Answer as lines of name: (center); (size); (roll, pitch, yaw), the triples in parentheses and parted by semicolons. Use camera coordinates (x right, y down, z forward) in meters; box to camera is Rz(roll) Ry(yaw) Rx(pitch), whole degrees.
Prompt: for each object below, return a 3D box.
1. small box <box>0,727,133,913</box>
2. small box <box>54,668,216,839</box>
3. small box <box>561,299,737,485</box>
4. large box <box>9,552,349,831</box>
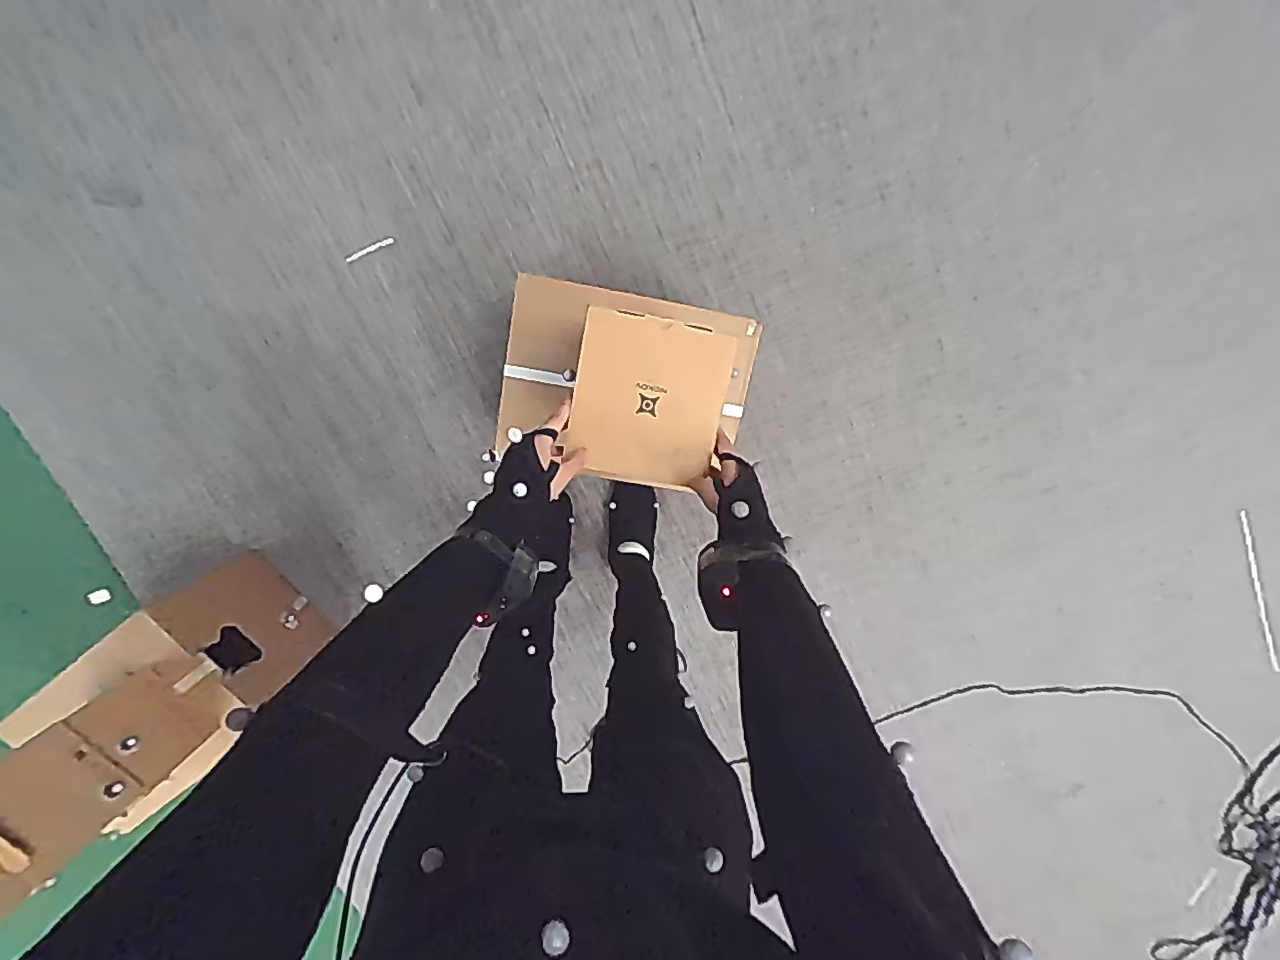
small box: (-0.885, 0.492, 0.760); (0.179, 0.176, 0.168); (-38, 101, 6)
small box: (-0.892, 0.462, 0.921); (0.168, 0.176, 0.179); (-37, 101, 5)
small box: (0.006, -0.107, 0.664); (0.168, 0.176, 0.179); (10, 100, -4)
large box: (-0.941, 0.427, 1.161); (0.408, 0.320, 0.320); (-37, 99, 7)
